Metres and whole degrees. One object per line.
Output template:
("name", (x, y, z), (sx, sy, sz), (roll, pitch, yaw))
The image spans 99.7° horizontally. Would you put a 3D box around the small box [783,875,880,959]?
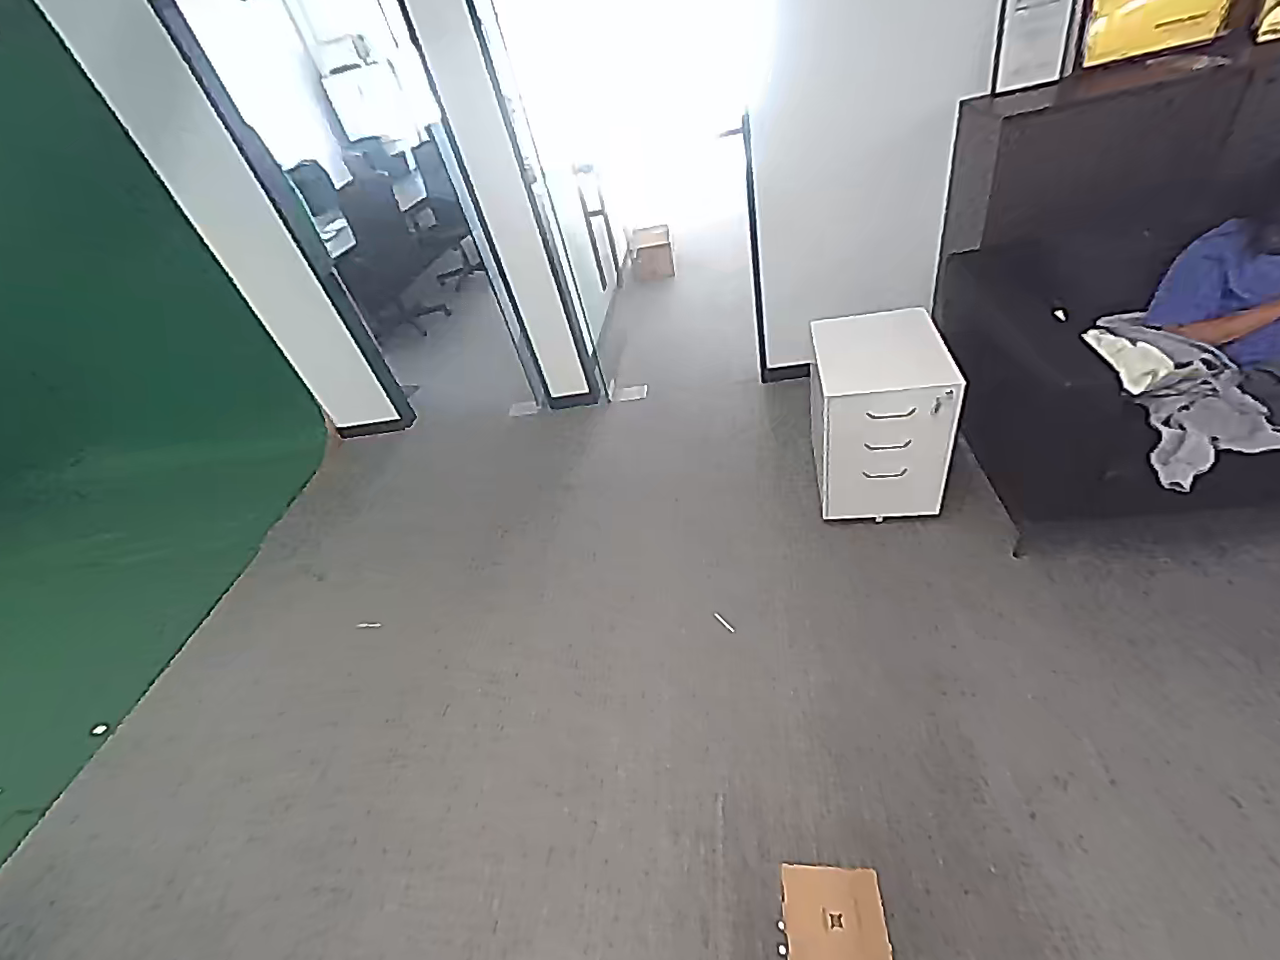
("small box", (0.394, 0.955, 1.133), (0.179, 0.176, 0.168), (-4, 41, 12))
